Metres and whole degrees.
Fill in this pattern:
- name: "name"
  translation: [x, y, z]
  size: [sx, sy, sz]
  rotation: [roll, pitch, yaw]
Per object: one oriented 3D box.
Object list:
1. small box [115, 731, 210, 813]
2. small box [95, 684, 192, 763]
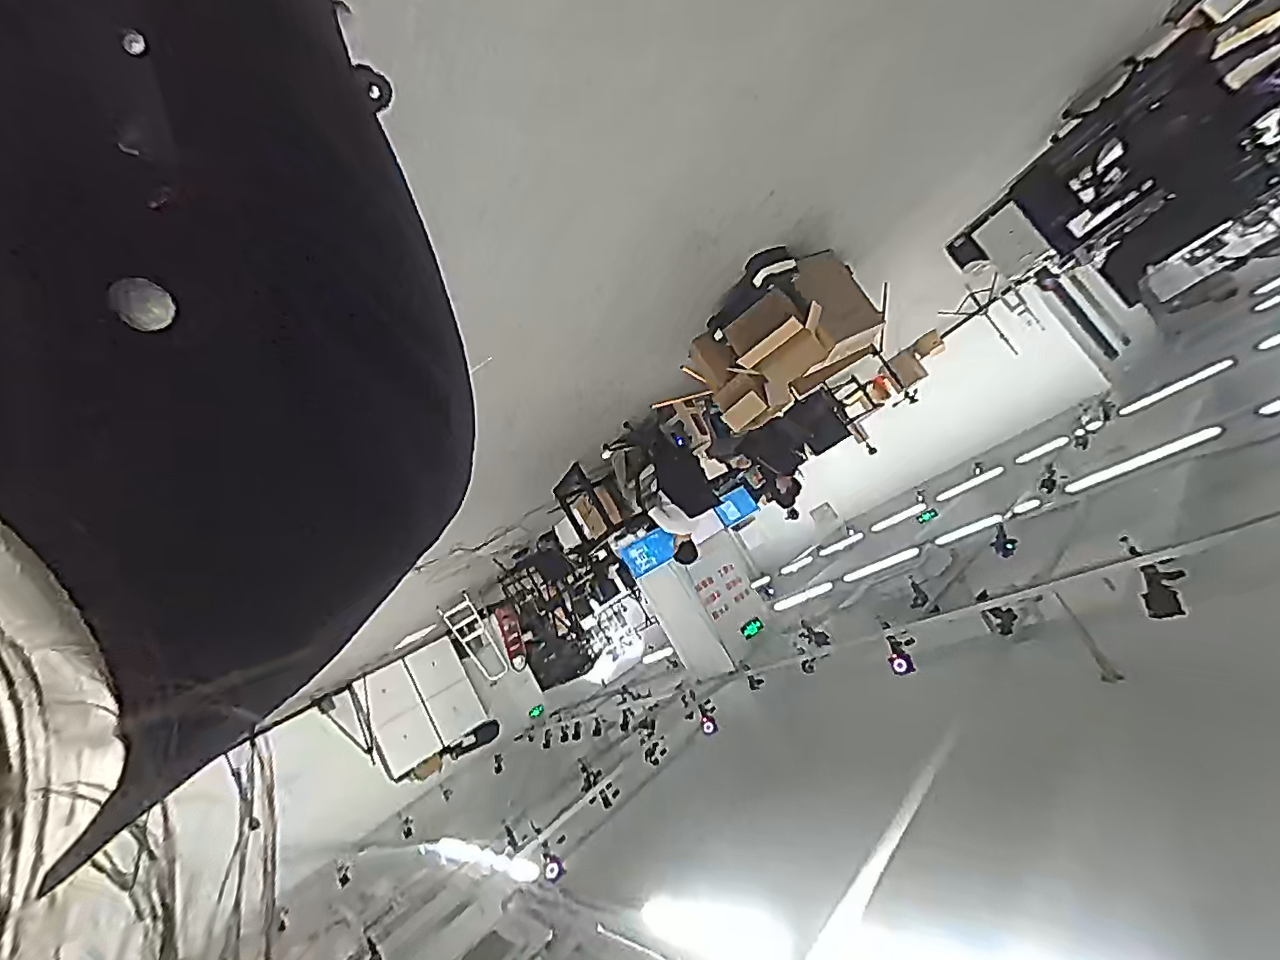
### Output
- name: "small box"
  translation: [-1.509, 0.921, 1.712]
  size: [0.168, 0.176, 0.179]
  rotation: [-25, 166, -36]
- name: "small box"
  translation: [-1.591, 0.782, 1.738]
  size: [0.179, 0.176, 0.168]
  rotation: [-23, 165, -37]
